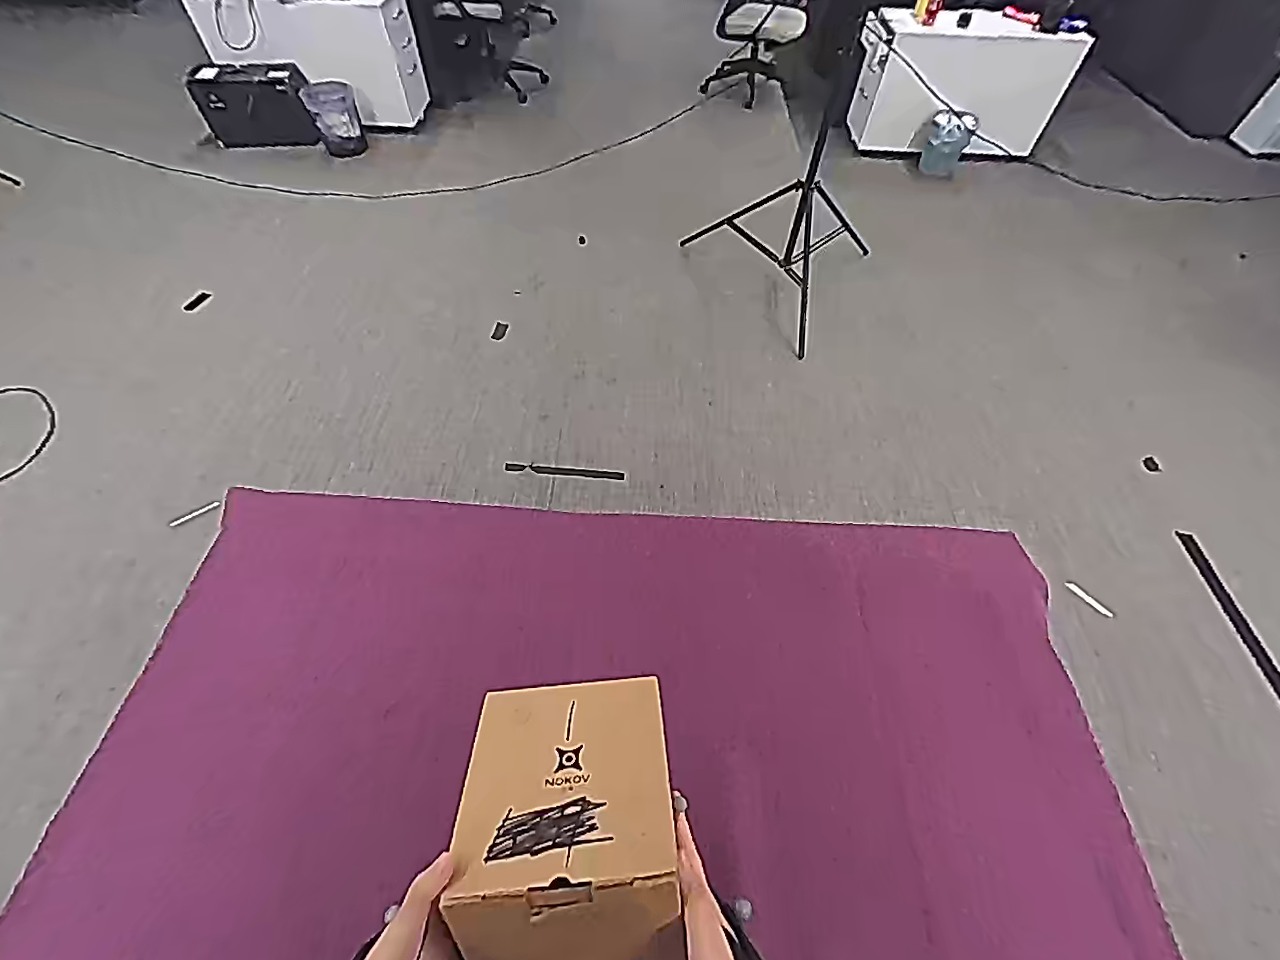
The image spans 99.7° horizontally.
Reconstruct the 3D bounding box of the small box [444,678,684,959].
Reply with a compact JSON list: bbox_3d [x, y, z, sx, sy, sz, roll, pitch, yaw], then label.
[{"bbox_3d":[-0.053,0.309,0.480,0.168,0.176,0.179,-5,27,-1],"label":"small box"}]
